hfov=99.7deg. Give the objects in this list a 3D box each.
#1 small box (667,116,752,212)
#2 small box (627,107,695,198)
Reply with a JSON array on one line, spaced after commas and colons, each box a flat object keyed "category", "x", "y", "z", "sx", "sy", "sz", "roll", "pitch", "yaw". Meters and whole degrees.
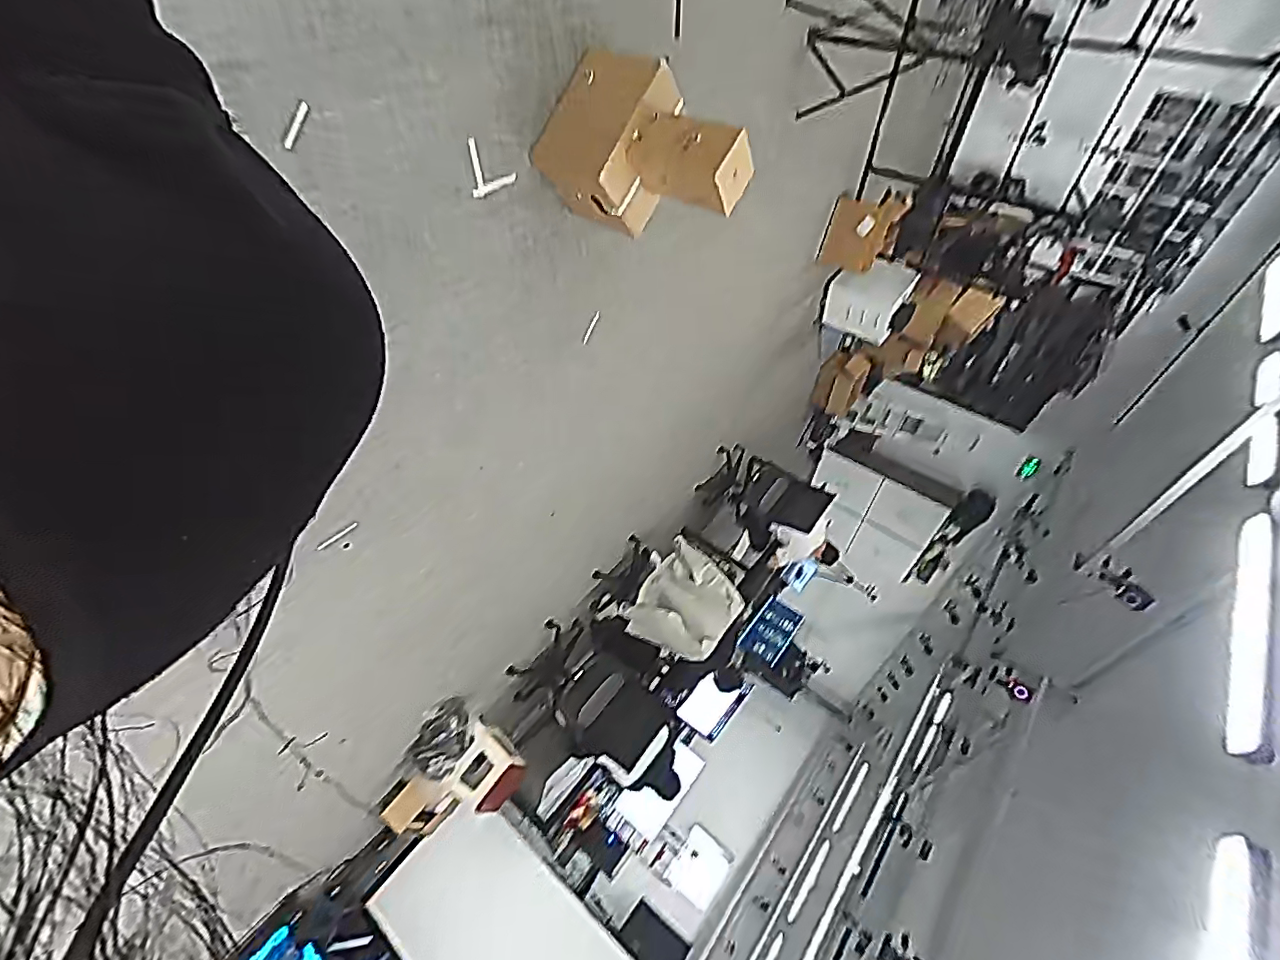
[{"category": "small box", "x": 0.208, "y": -0.942, "z": 1.610, "sx": 0.168, "sy": 0.176, "sz": 0.179, "roll": -60, "pitch": 154, "yaw": 1}, {"category": "small box", "x": 0.085, "y": -1.021, "z": 1.682, "sx": 0.168, "sy": 0.176, "sz": 0.179, "roll": -60, "pitch": 156, "yaw": 3}]
